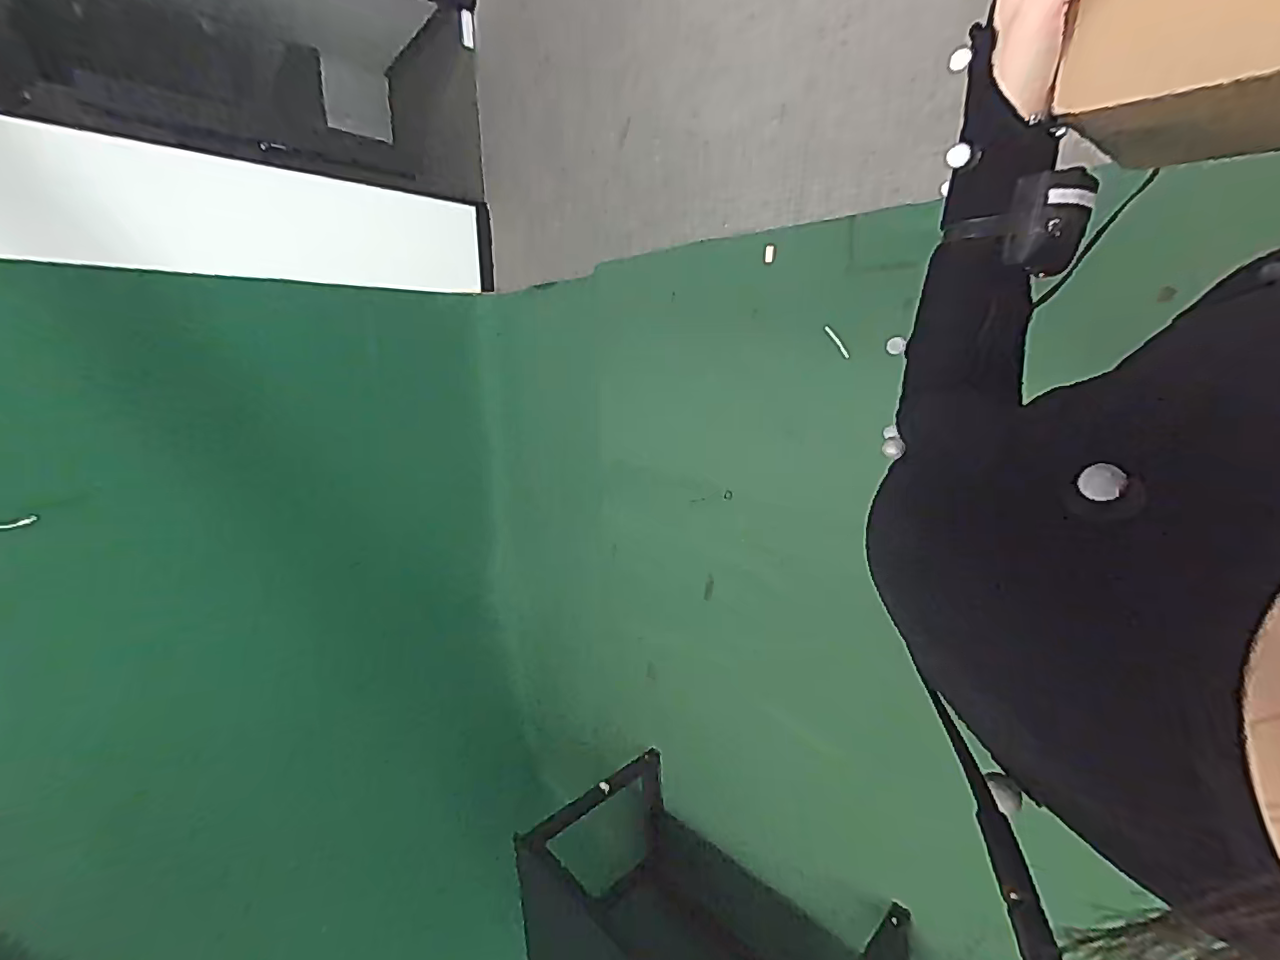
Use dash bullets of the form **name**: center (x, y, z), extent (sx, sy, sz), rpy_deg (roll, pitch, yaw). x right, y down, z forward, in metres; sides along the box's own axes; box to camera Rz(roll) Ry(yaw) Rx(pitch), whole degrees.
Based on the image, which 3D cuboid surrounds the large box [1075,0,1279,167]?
- **large box**: center (0.528, -0.395, 0.283), extent (0.408, 0.320, 0.320), rpy_deg (16, 116, 43)
